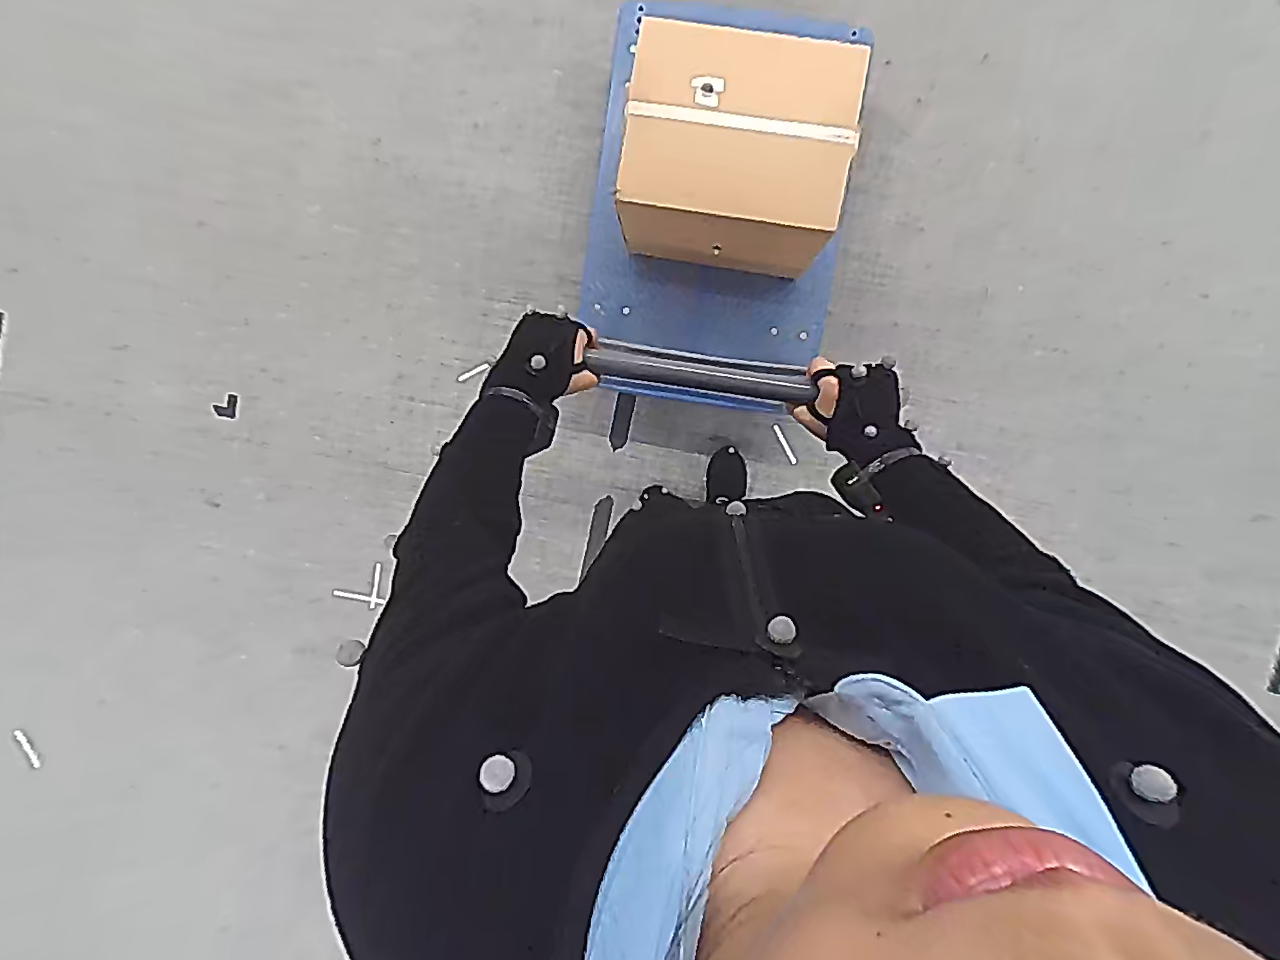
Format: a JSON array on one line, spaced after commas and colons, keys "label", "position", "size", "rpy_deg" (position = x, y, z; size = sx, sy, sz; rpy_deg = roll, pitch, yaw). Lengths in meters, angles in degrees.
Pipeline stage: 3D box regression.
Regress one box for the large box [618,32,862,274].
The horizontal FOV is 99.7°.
[{"label": "large box", "position": [0.190, -0.643, 1.122], "size": [0.408, 0.320, 0.320], "rpy_deg": [9, 95, 4]}]
